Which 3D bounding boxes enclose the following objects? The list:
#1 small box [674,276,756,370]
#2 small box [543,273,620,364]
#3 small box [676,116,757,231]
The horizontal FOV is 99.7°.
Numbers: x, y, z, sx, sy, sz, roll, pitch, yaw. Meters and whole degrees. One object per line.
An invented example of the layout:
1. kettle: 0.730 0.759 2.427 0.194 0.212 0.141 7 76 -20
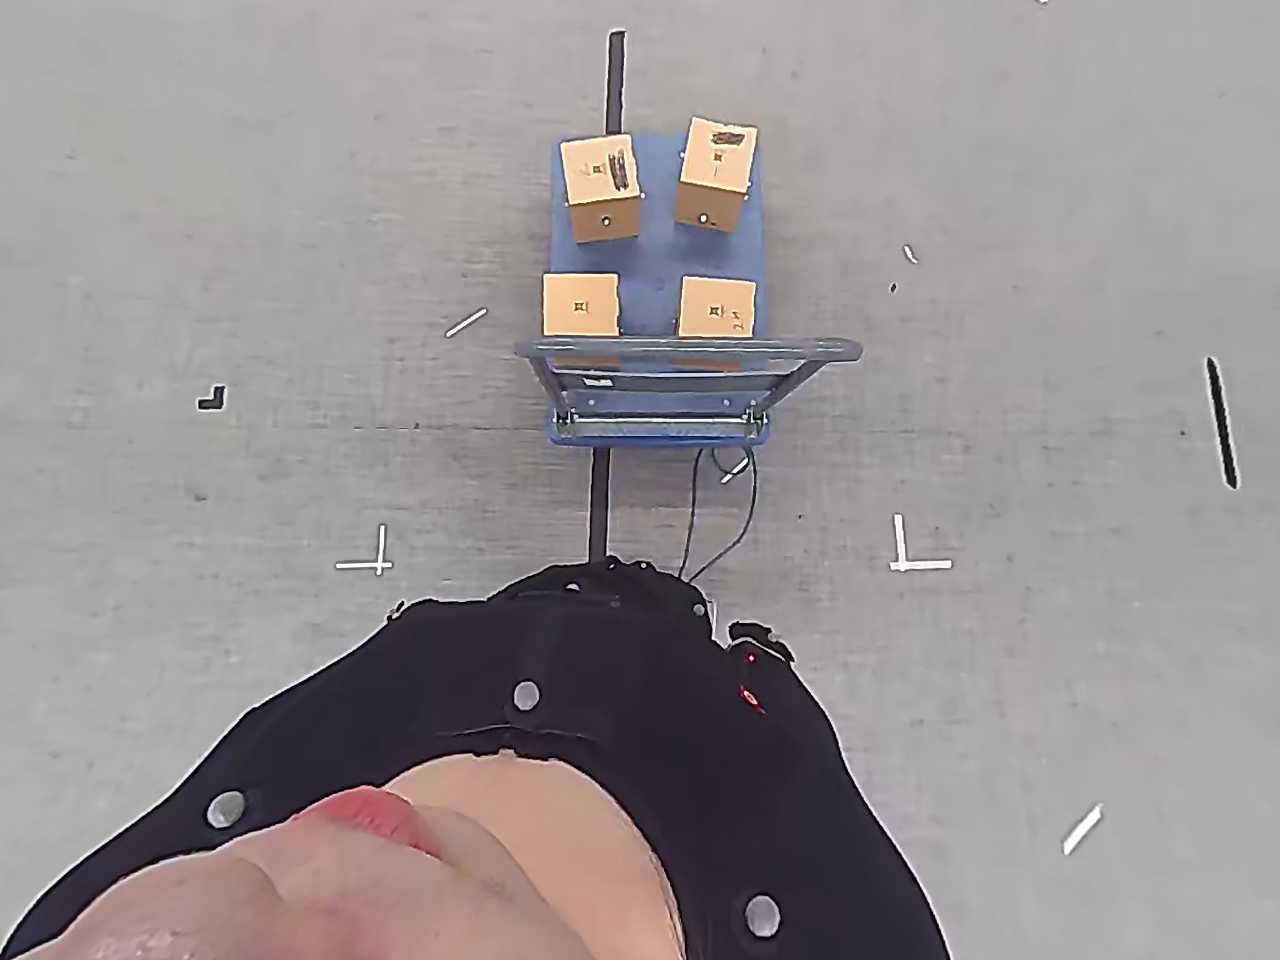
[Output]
1. small box: 0.178 -0.382 1.338 0.179 0.176 0.168 5 83 0
2. small box: -0.140 -0.392 1.333 0.179 0.176 0.168 -1 82 -3
3. small box: 0.190 -0.780 1.390 0.168 0.176 0.179 11 83 0
